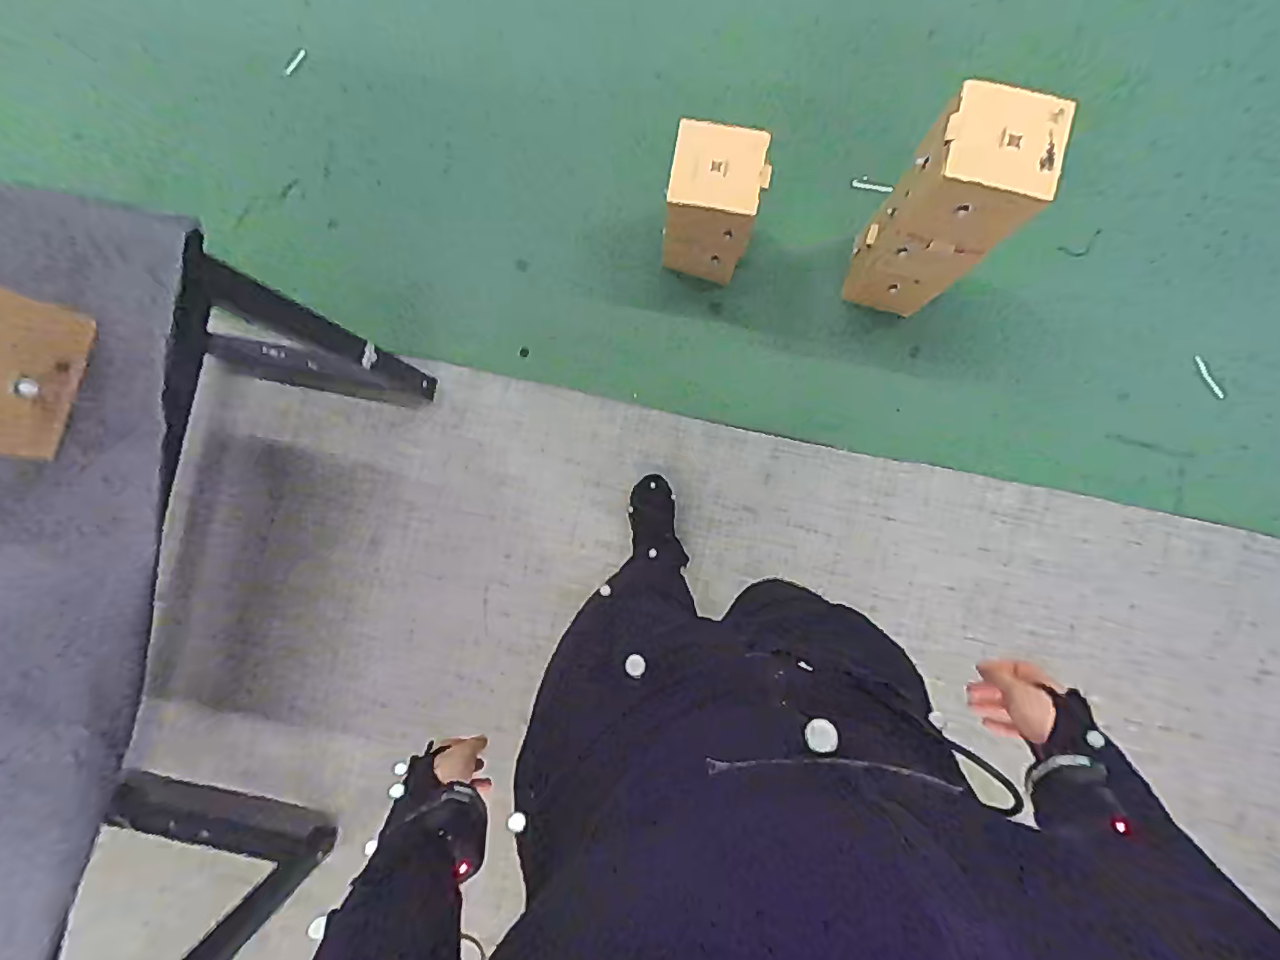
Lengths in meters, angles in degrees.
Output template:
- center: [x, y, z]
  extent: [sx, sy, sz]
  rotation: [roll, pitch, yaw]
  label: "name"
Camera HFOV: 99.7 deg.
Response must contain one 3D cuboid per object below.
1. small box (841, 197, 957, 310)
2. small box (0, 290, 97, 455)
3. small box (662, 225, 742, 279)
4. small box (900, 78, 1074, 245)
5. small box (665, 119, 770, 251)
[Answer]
- center: [0.593, -0.510, 1.244]
  extent: [0.179, 0.176, 0.168]
  rotation: [16, 89, 2]
  label: "small box"
- center: [-0.718, -0.127, 0.533]
  extent: [0.179, 0.176, 0.168]
  rotation: [17, 89, 4]
  label: "small box"
- center: [0.159, -0.591, 1.259]
  extent: [0.179, 0.176, 0.168]
  rotation: [18, 88, 3]
  label: "small box"
- center: [0.572, -0.526, 0.917]
  extent: [0.179, 0.176, 0.168]
  rotation: [15, 88, 3]
  label: "small box"
- center: [0.150, -0.587, 1.097]
  extent: [0.179, 0.176, 0.168]
  rotation: [10, 88, 3]
  label: "small box"
